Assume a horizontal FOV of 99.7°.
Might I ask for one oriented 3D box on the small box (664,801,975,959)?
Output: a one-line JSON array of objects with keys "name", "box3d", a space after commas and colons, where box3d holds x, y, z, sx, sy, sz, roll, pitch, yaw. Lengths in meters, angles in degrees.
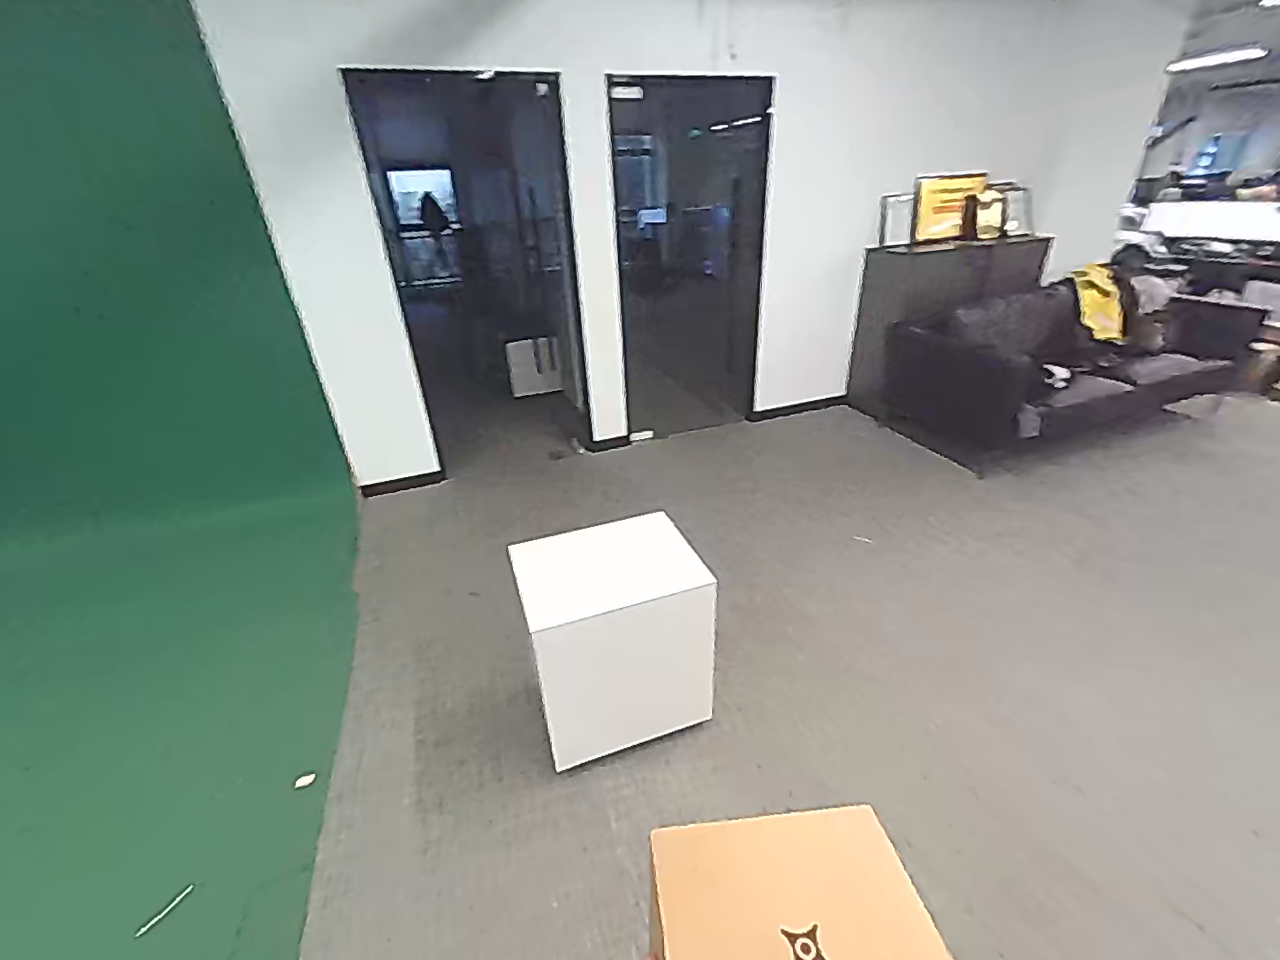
[{"name": "small box", "box3d": [0.105, 0.343, 0.337, 0.168, 0.176, 0.179, -3, 22, -5]}]
